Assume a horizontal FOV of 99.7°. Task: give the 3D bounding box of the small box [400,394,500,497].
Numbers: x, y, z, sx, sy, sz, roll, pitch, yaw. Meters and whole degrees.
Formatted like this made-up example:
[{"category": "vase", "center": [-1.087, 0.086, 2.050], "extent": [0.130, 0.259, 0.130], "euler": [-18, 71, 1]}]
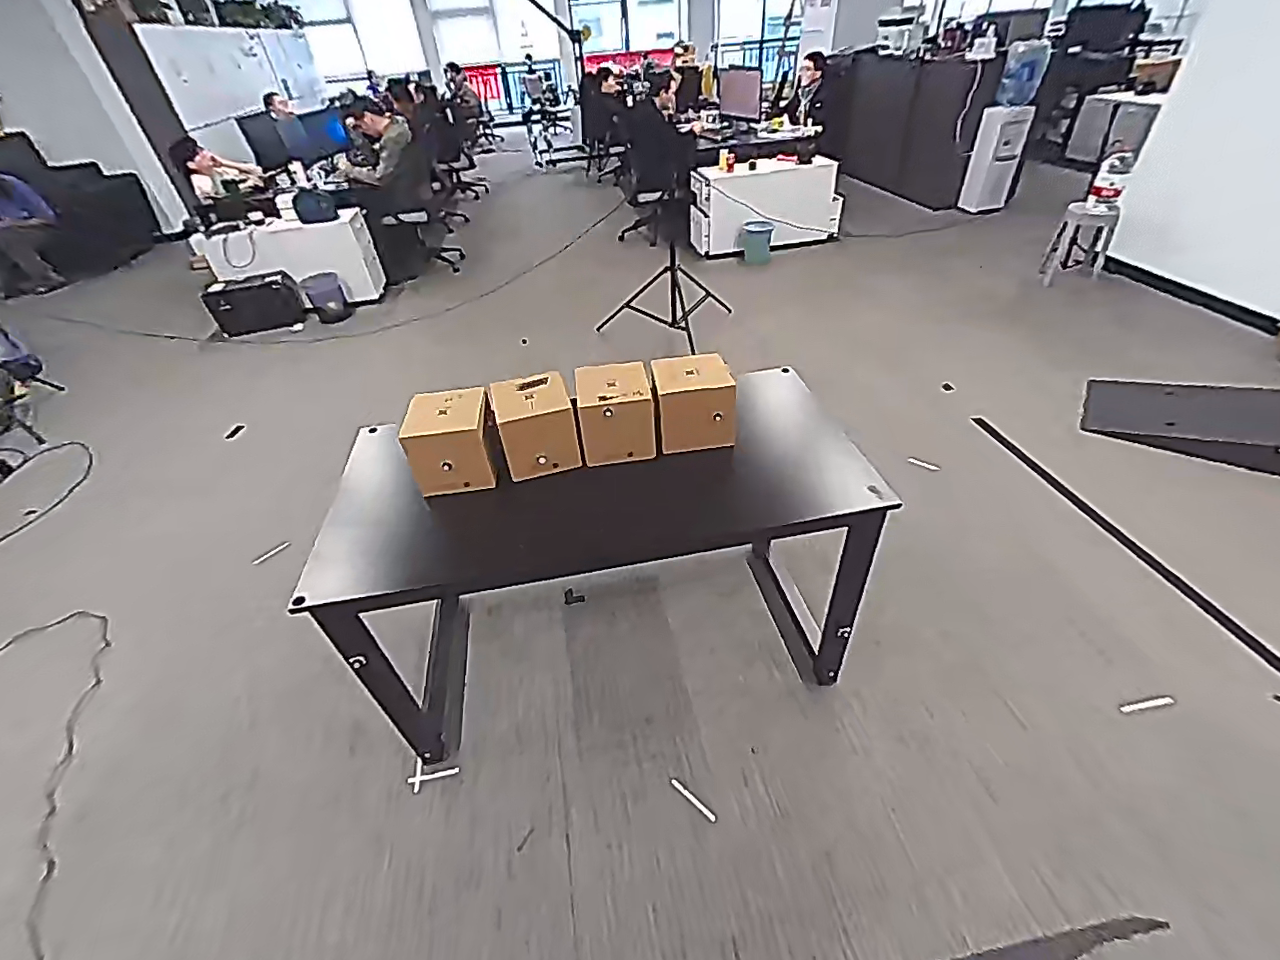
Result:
[{"category": "small box", "center": [-0.425, -0.074, 1.245], "extent": [0.168, 0.176, 0.179], "euler": [-7, 39, -3]}]
